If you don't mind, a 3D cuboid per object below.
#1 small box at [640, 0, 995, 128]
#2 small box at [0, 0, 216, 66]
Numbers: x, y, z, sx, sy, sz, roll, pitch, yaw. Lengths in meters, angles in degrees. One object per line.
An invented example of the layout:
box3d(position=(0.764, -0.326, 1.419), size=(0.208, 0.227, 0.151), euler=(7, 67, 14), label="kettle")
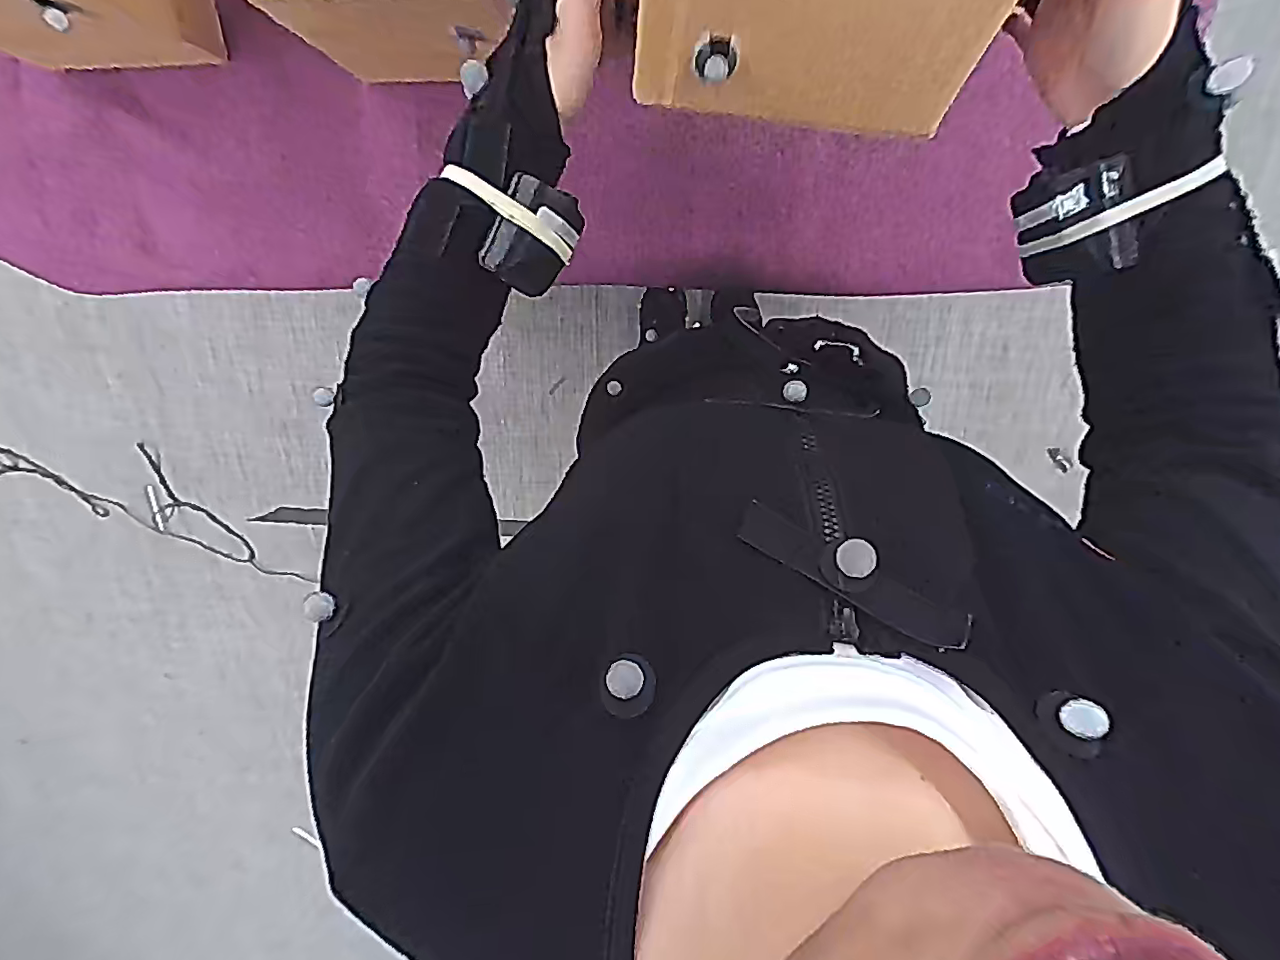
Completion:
box3d(position=(0.095, -0.310, 0.253), size=(0.179, 0.176, 0.168), euler=(4, 69, -5), label="small box")
box3d(position=(-0.480, -0.451, 0.420), size=(0.179, 0.176, 0.168), euler=(-1, 109, 1), label="small box")
